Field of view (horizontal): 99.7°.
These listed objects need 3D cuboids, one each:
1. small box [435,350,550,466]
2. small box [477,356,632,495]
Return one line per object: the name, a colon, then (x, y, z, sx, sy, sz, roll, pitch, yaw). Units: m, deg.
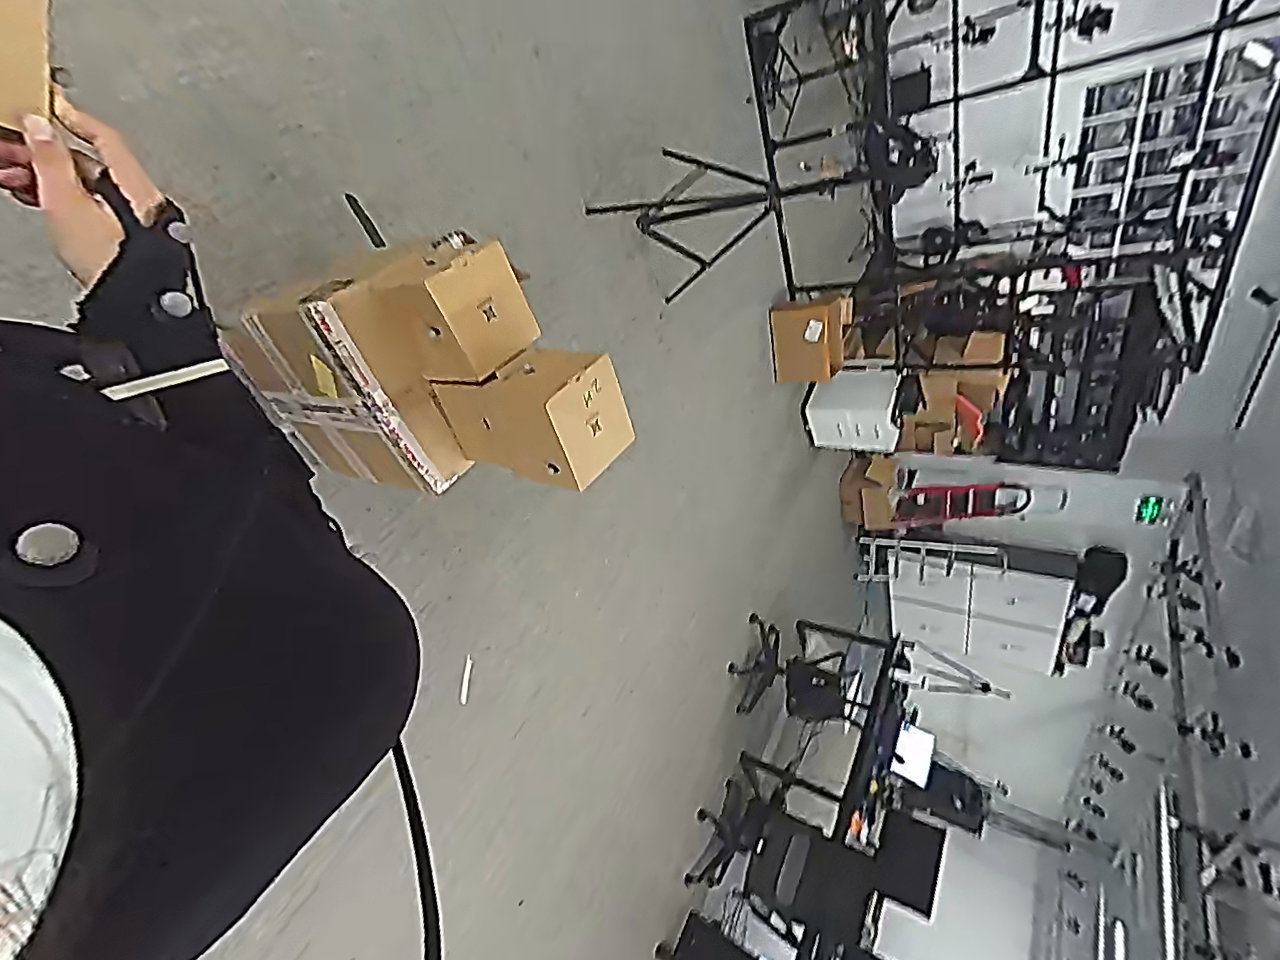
small box: (-0.261, -0.138, 1.043, 0.168, 0.176, 0.179, -44, 132, -38)
small box: (-0.144, -0.102, 0.931, 0.168, 0.176, 0.179, -48, 134, -37)
